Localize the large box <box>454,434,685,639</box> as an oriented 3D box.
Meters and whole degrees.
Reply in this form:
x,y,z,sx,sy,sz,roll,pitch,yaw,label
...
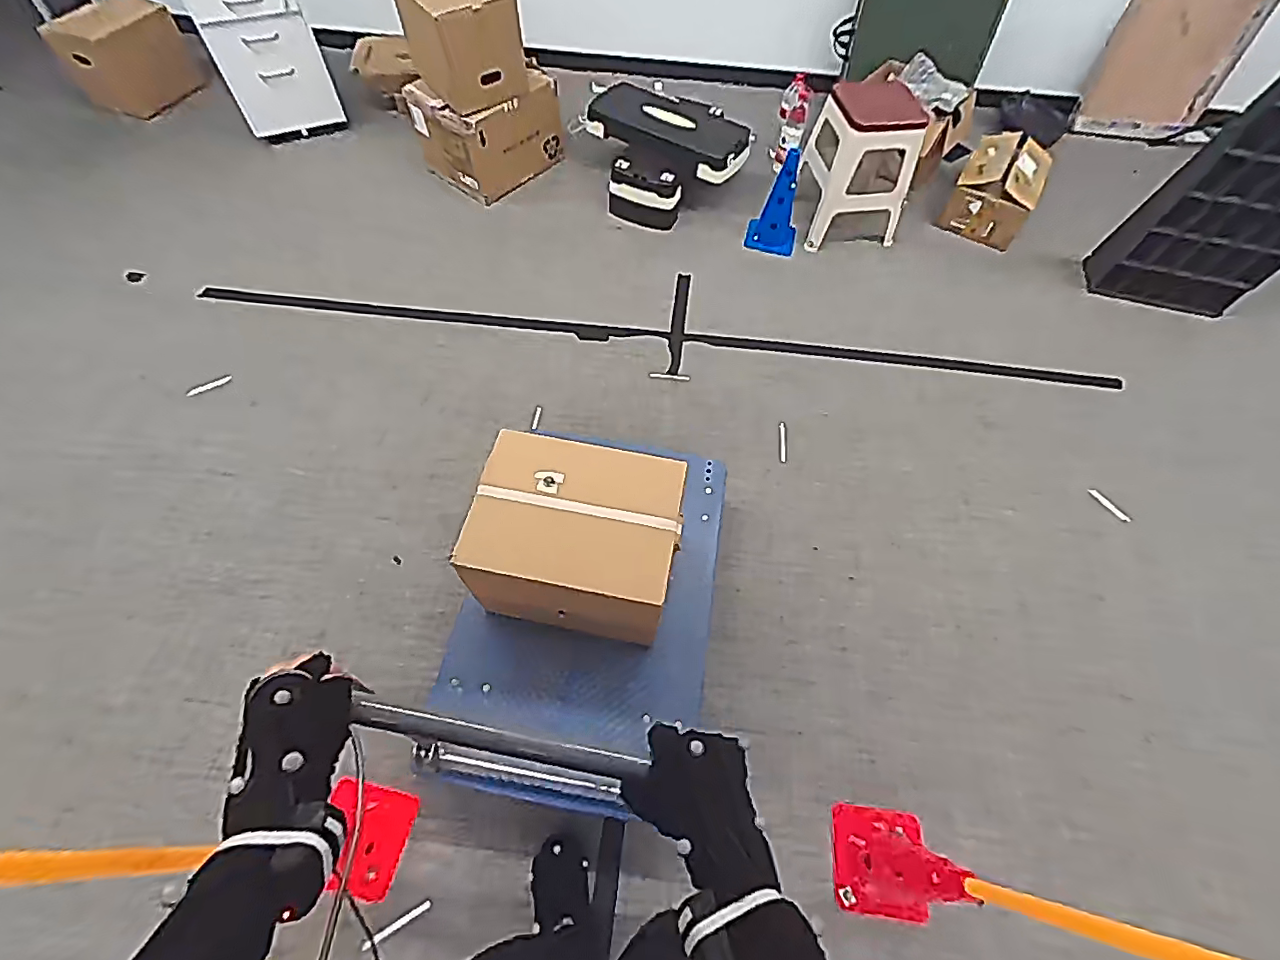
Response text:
x,y,z,sx,sy,sz,roll,pitch,yaw,label
-0.128,0.135,1.196,0.408,0.320,0.320,10,60,4,large box

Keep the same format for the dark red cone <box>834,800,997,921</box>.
x,y,z,sx,sy,sz,roll,pitch,yaw,label
0.534,0.734,1.026,0.201,0.394,0.202,8,60,0,dark red cone

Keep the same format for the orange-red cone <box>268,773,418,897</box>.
x,y,z,sx,sy,sz,roll,pitch,yaw,label
-0.598,0.679,1.030,0.198,0.360,0.199,14,59,4,orange-red cone
